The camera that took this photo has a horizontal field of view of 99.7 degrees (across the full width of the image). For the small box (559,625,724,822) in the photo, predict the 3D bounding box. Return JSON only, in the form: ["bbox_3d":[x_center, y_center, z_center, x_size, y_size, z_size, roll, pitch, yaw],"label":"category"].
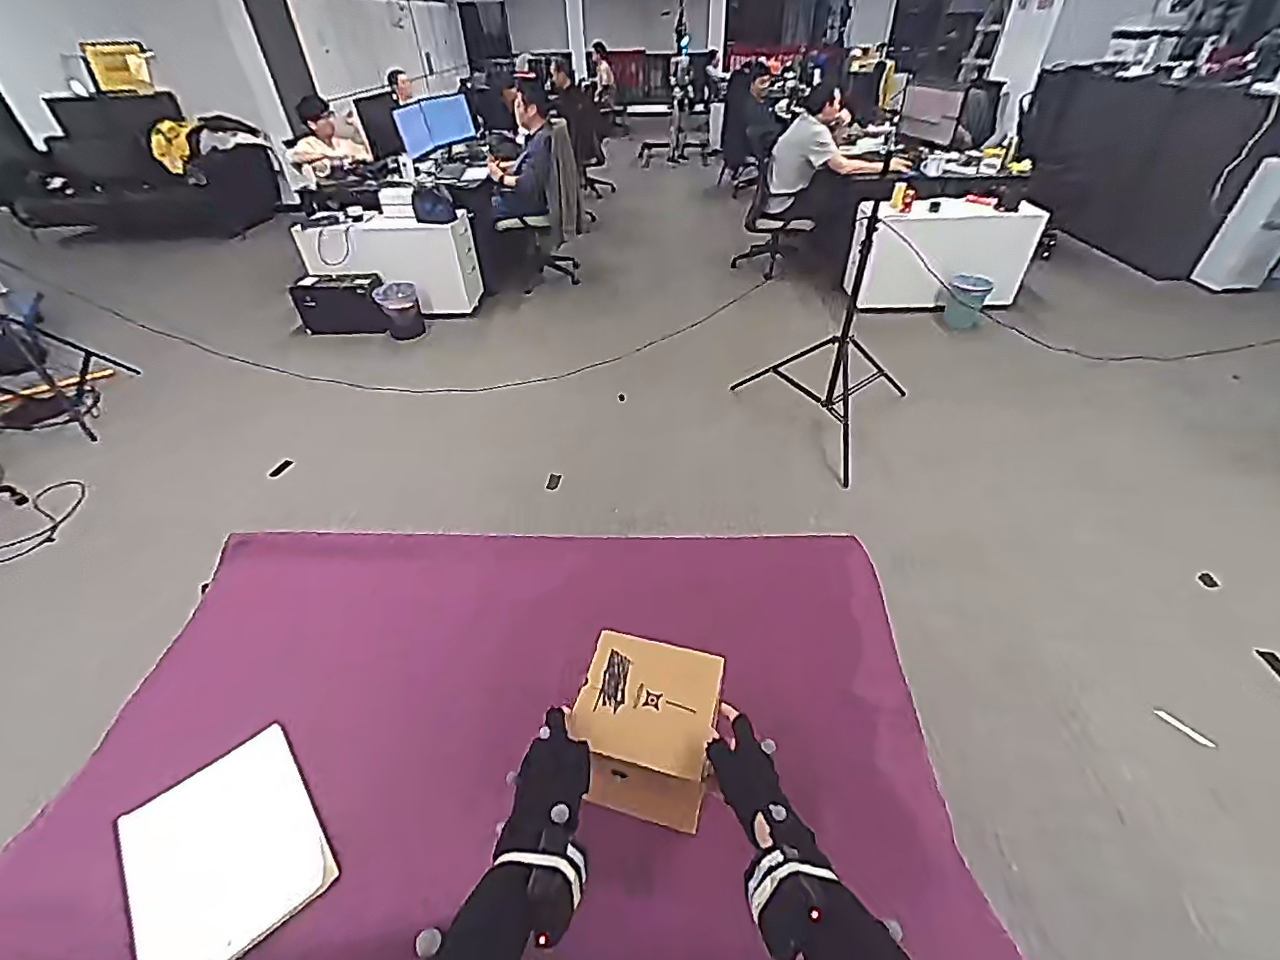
[{"bbox_3d":[0.009,0.329,0.734,0.179,0.176,0.168,10,41,13],"label":"small box"}]
